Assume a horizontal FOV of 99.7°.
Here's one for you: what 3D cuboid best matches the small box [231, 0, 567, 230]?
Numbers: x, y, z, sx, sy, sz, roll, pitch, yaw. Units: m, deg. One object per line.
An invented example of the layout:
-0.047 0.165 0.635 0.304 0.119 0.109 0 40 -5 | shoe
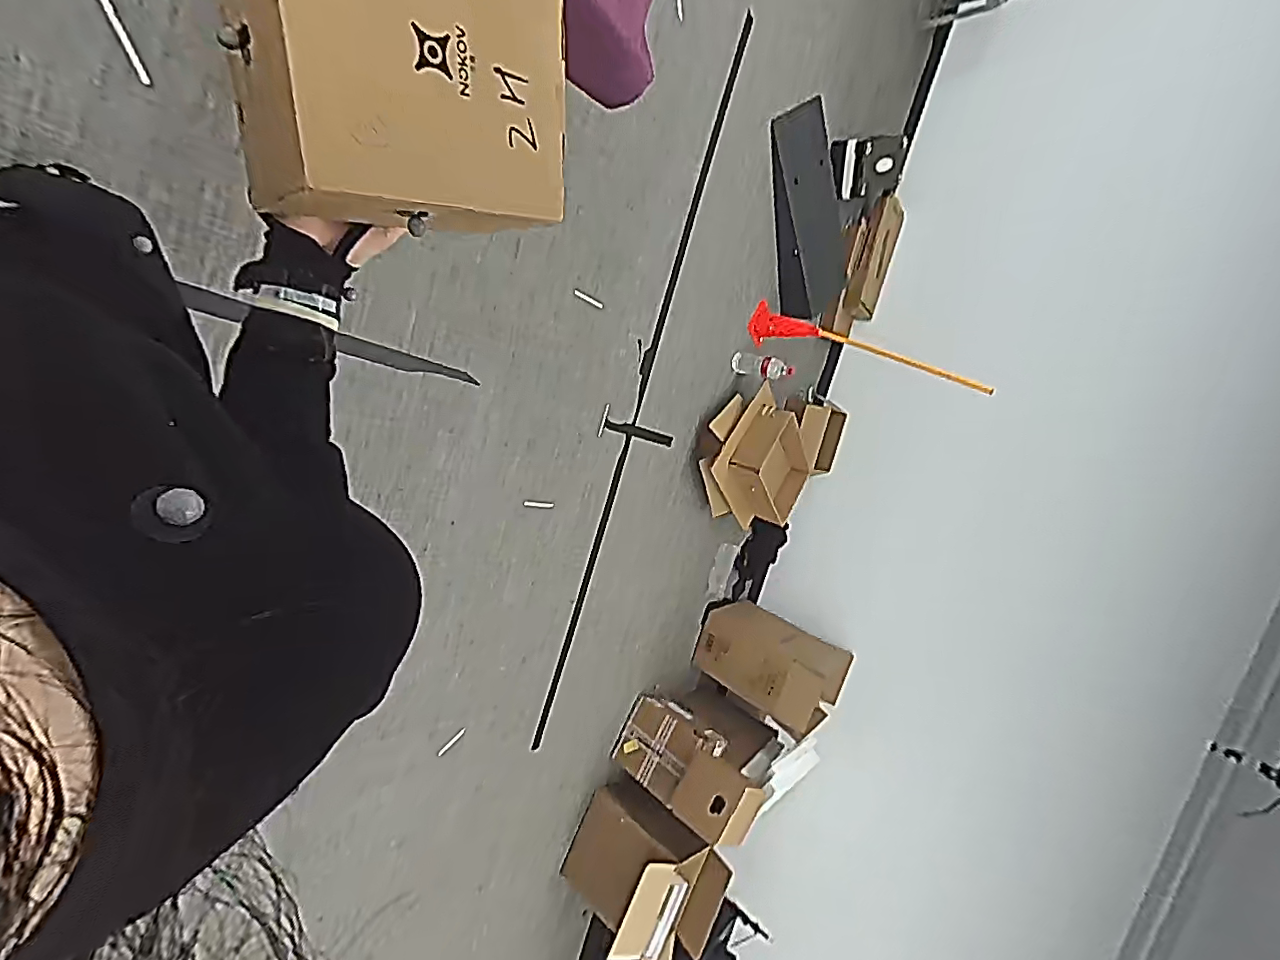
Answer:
-0.172 -0.279 0.388 0.179 0.176 0.168 -15 117 -41 | small box
